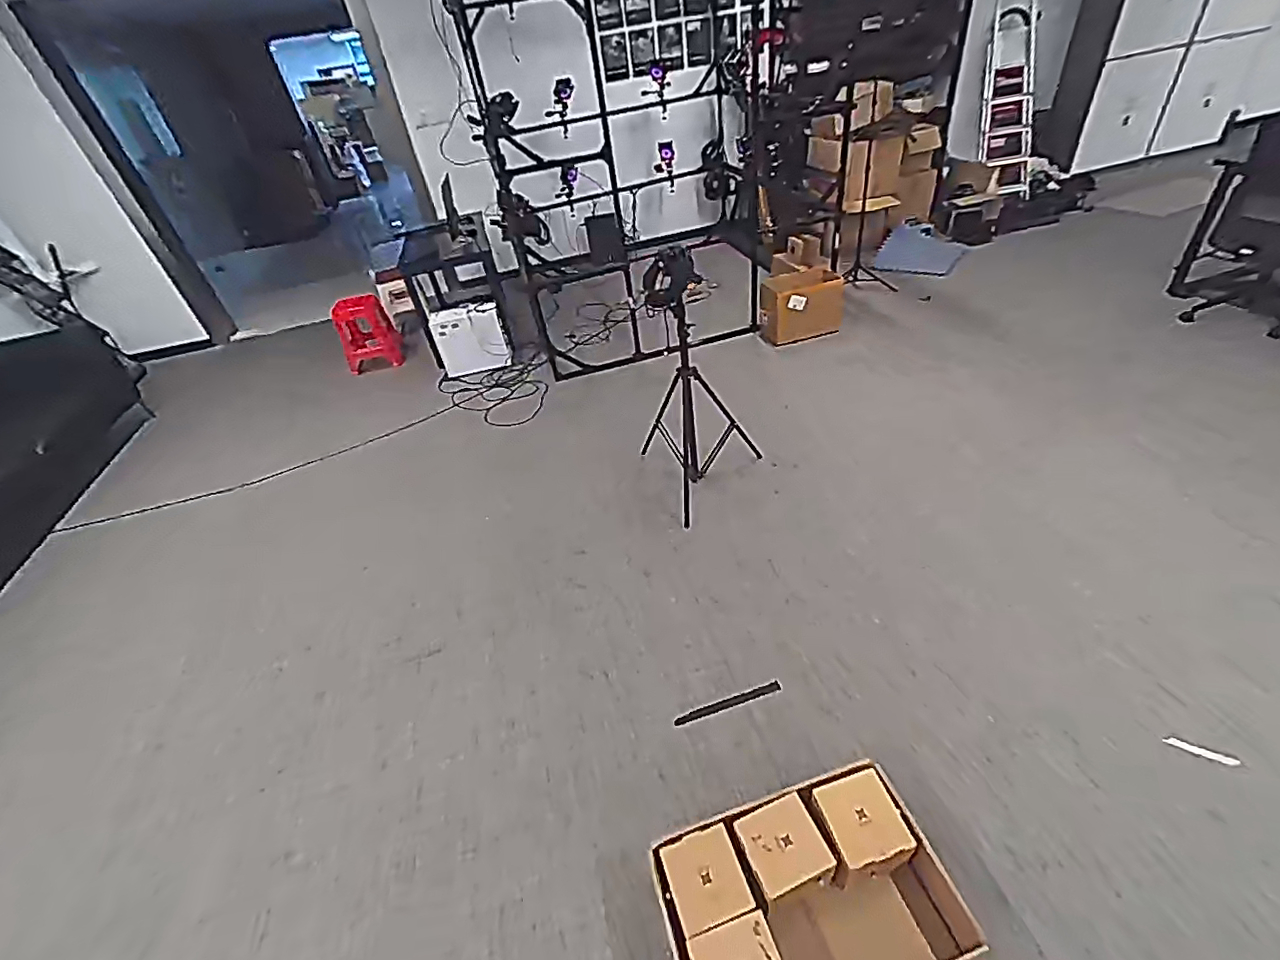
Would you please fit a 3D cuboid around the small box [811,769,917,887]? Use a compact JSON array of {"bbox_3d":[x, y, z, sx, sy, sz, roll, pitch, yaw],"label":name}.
[{"bbox_3d":[0.530,0.844,1.310,0.168,0.176,0.179,-17,42,-6],"label":"small box"}]
